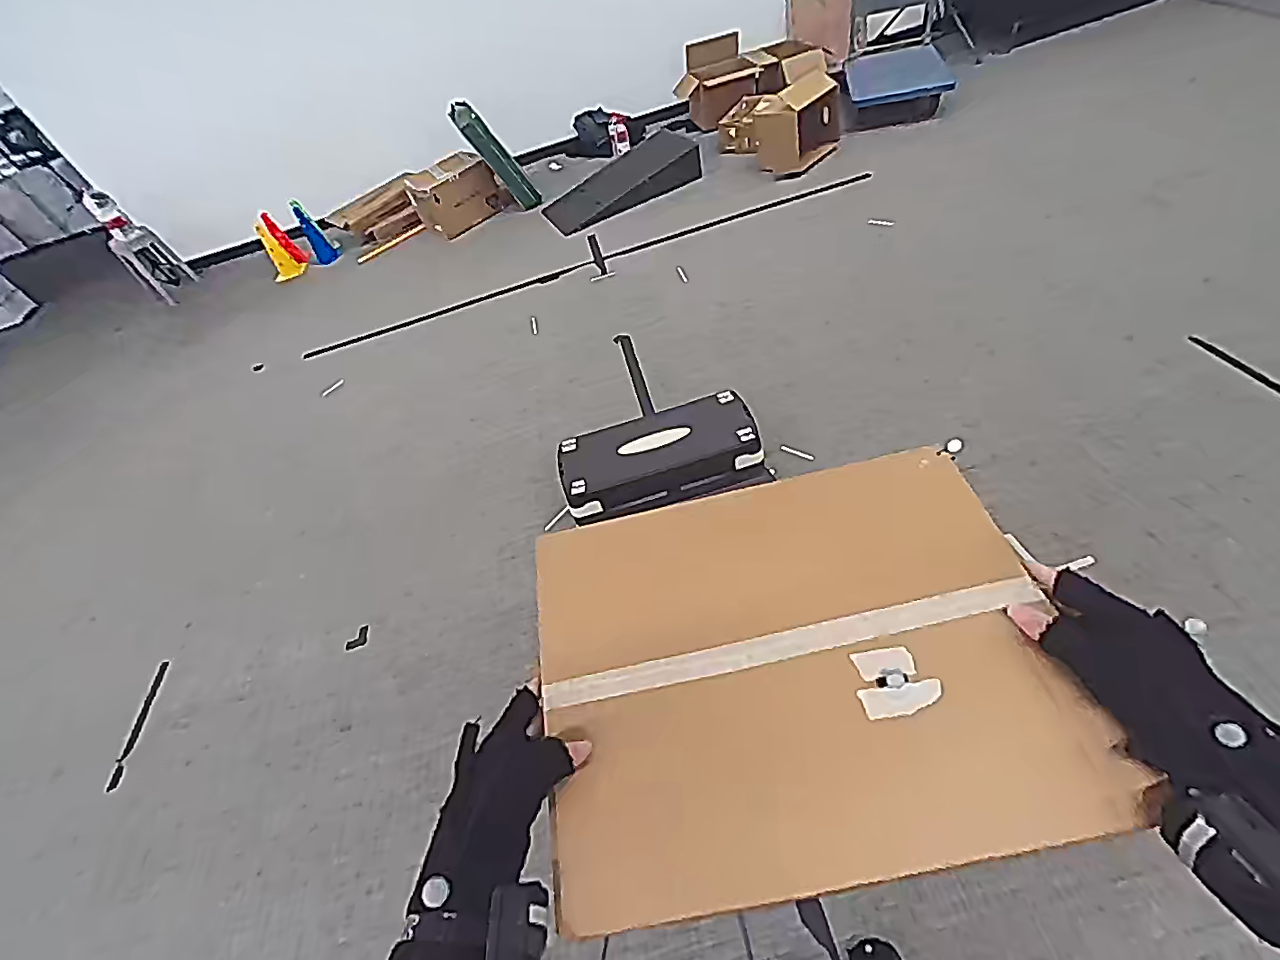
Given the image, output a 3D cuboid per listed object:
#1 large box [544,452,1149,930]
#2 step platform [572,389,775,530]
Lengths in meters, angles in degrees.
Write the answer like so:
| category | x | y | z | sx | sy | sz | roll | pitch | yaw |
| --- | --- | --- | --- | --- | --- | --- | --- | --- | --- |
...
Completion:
| category | x | y | z | sx | sy | sz | roll | pitch | yaw |
| --- | --- | --- | --- | --- | --- | --- | --- | --- | --- |
| large box | 0.145 | 0.224 | 0.568 | 0.408 | 0.320 | 0.320 | -14 | 54 | 2 |
| step platform | 0.108 | -0.078 | 1.865 | 0.684 | 0.204 | 0.286 | -18 | 48 | 0 |
